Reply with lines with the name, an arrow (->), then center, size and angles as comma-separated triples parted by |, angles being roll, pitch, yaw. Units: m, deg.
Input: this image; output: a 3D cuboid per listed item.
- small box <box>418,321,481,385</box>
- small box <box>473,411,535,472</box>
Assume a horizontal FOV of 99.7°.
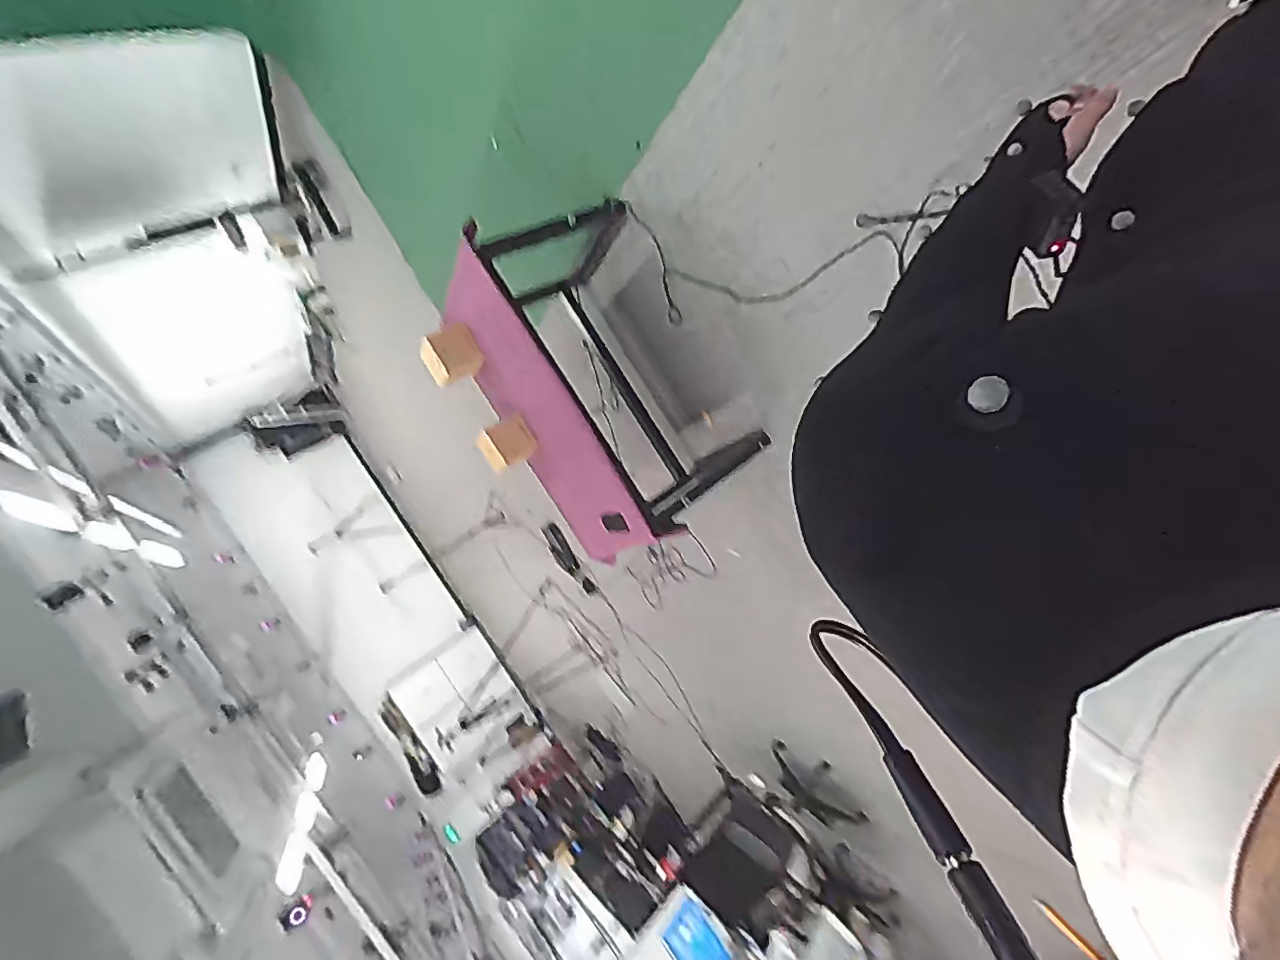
small box -> -0.762, -0.509, 2.165 | 0.168, 0.176, 0.179 | 58, 150, -6
small box -> -0.553, -0.158, 2.209 | 0.168, 0.176, 0.179 | 57, 149, -3
